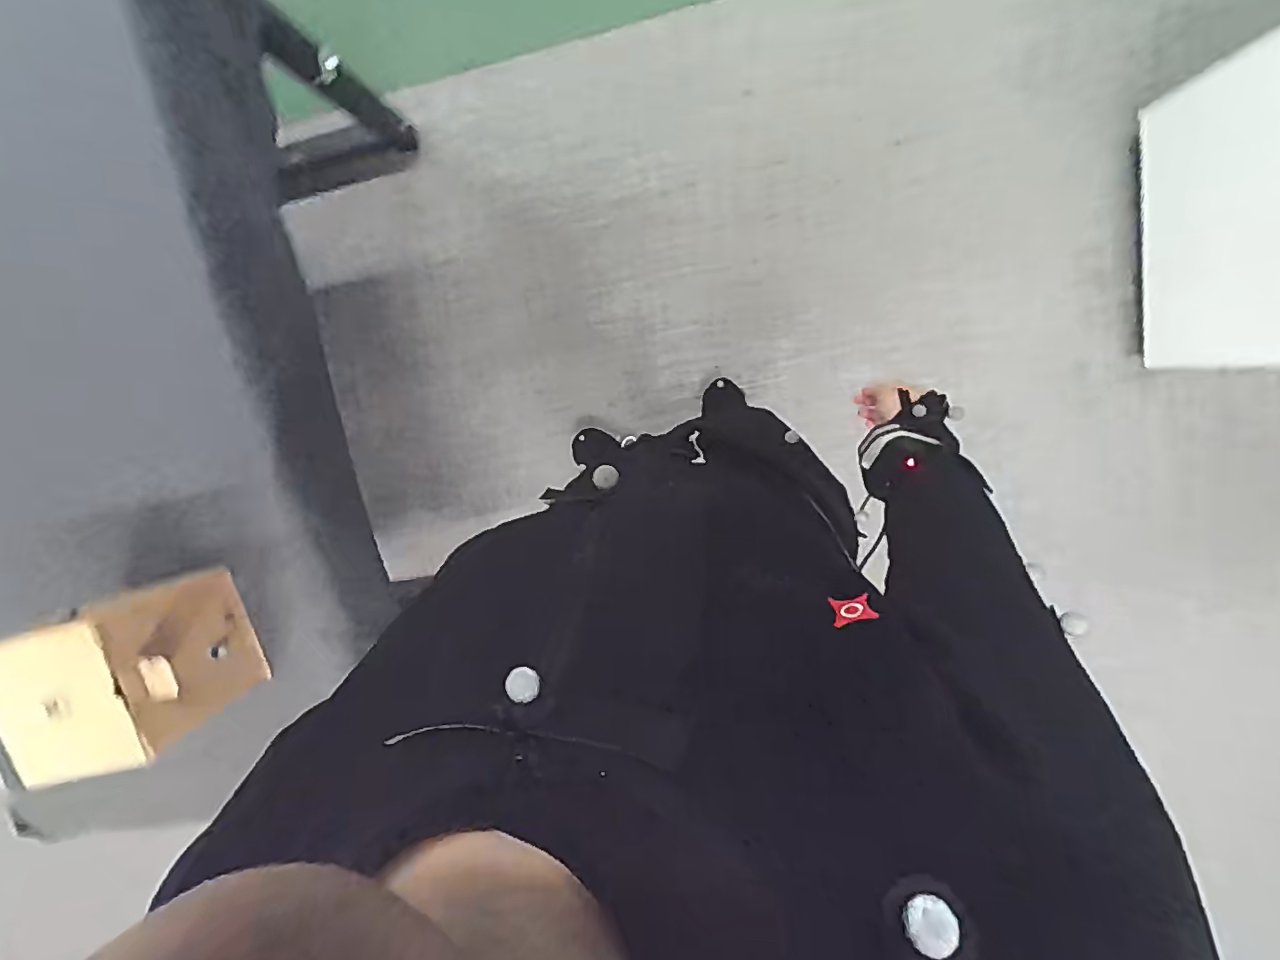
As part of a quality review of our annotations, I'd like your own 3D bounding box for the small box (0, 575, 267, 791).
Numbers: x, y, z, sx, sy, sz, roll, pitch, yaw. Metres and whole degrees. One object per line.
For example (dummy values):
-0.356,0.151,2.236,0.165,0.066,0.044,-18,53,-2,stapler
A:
-0.607,0.231,0.649,0.179,0.176,0.168,-15,98,9,small box
